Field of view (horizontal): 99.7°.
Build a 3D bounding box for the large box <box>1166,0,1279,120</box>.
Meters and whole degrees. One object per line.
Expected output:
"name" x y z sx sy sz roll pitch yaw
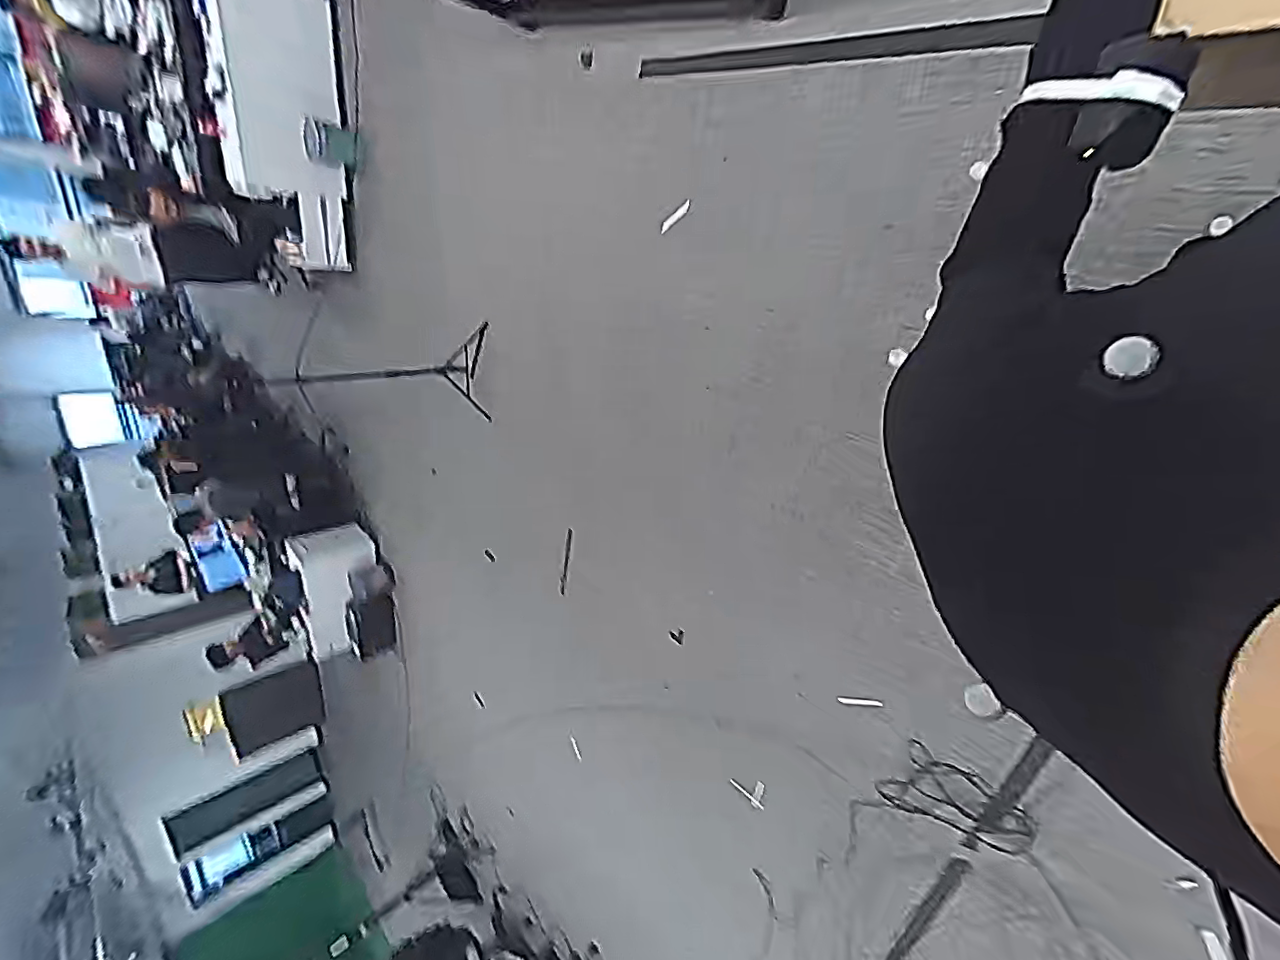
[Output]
"large box" 0.587 -0.399 0.268 0.408 0.320 0.320 24 124 37
